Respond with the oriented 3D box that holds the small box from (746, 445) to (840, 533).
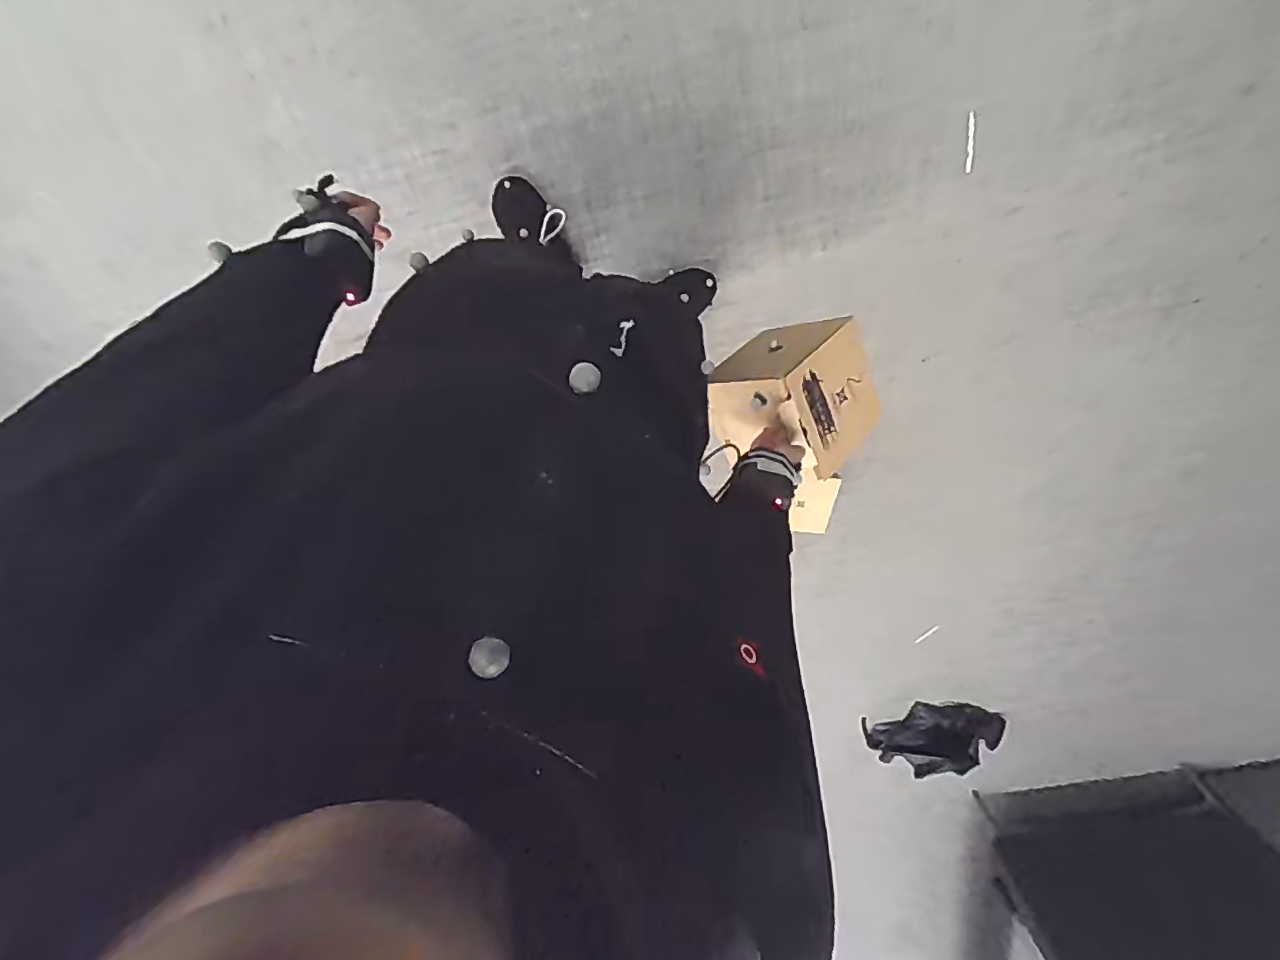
[{"bbox_3d":[0.388,0.020,1.404,0.179,0.176,0.168,5,120,-4],"label":"small box"}]
